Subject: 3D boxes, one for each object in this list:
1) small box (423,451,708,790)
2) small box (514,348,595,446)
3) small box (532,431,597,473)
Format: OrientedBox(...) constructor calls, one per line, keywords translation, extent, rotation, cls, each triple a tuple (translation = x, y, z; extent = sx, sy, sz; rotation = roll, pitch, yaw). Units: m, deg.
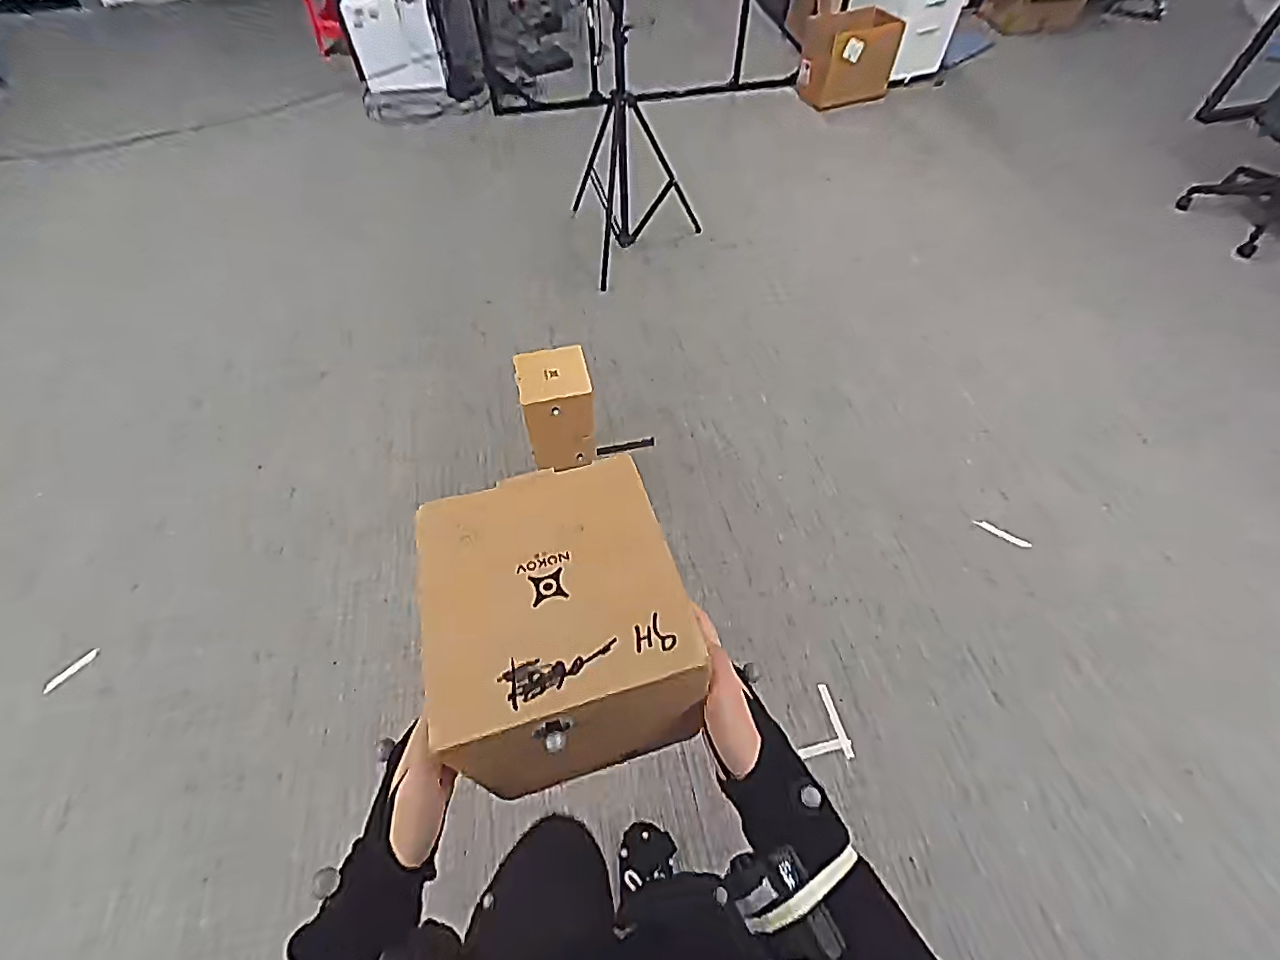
OrientedBox(translation=(-0.057, 0.110, 0.422), extent=(0.168, 0.176, 0.179), rotation=(-15, 51, -9), cls="small box")
OrientedBox(translation=(-0.216, -0.209, 1.389), extent=(0.179, 0.176, 0.168), rotation=(-12, 59, -8), cls="small box")
OrientedBox(translation=(-0.218, -0.119, 1.524), extent=(0.168, 0.176, 0.179), rotation=(-12, 57, -8), cls="small box")
